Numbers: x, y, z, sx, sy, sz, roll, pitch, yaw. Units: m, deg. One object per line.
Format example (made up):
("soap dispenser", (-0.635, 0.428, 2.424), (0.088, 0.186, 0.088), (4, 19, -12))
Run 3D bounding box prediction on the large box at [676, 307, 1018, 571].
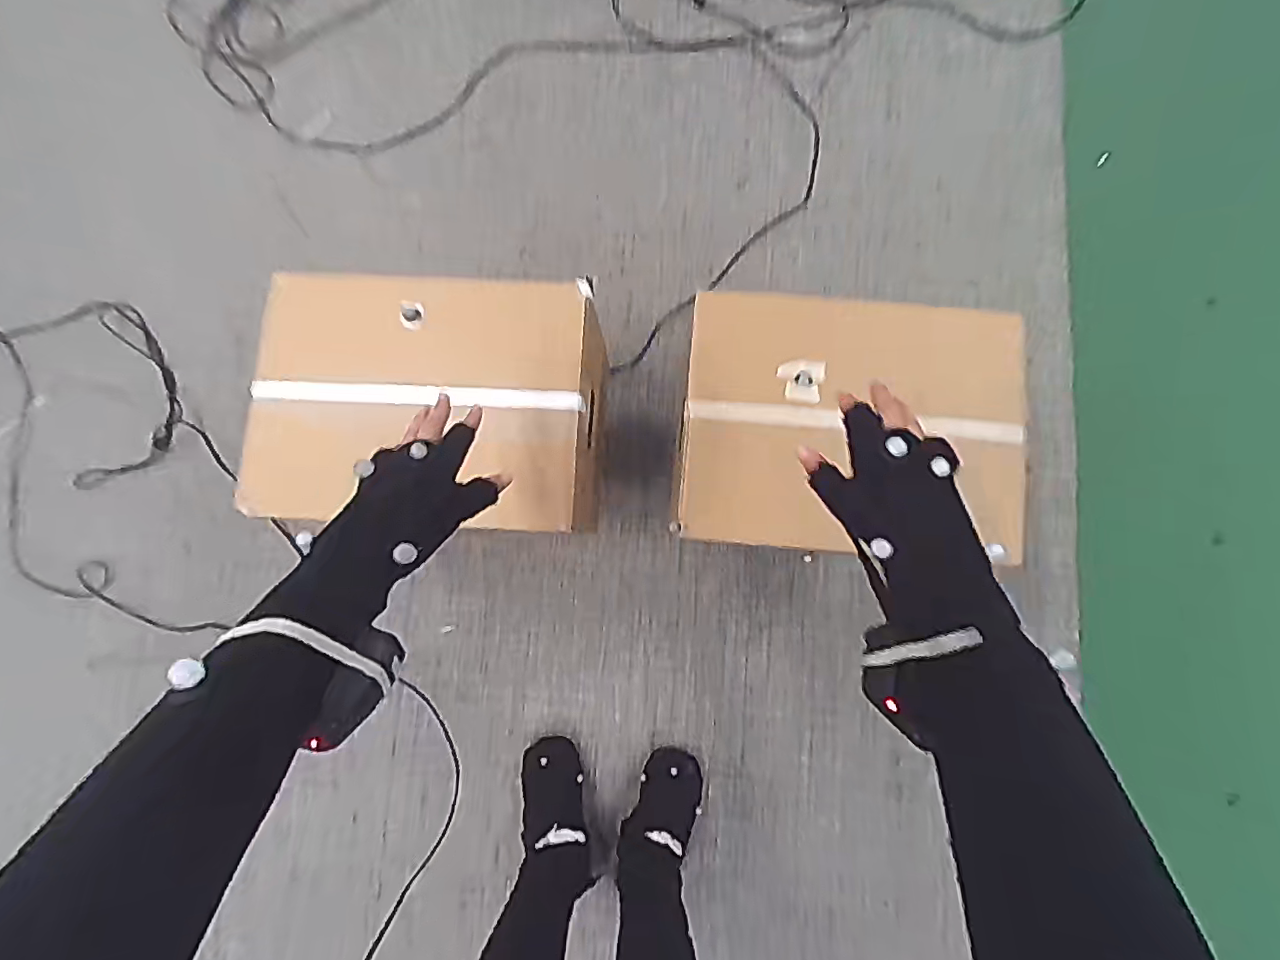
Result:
("large box", (0.271, -0.043, 0.820), (0.408, 0.320, 0.320), (5, 83, 2))
